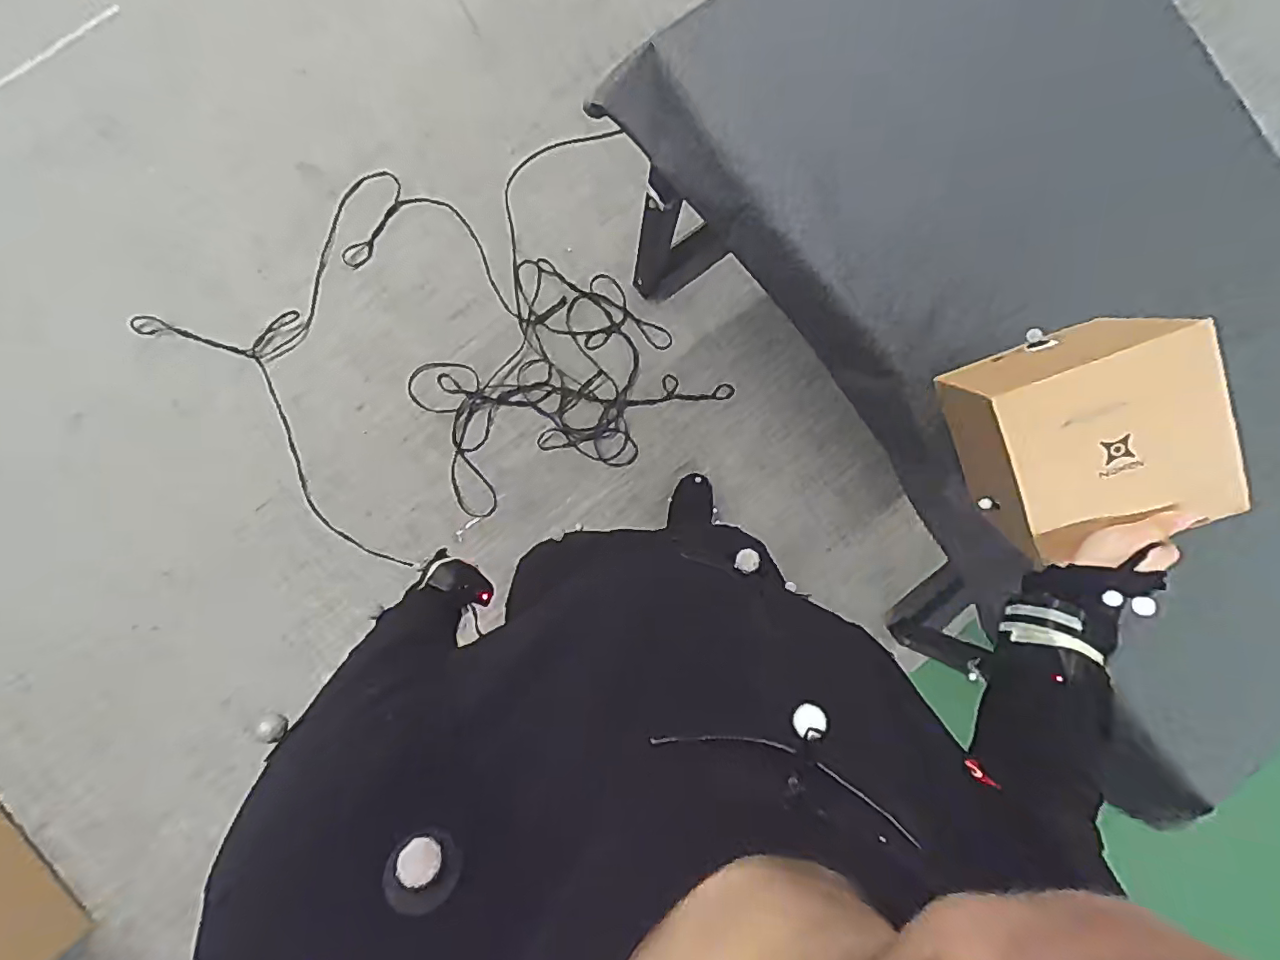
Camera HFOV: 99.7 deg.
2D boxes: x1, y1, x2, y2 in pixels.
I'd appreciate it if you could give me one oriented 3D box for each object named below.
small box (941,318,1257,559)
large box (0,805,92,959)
[{"bbox_3d":[0.438,-0.051,0.546,0.168,0.176,0.179,-22,100,16],"label":"small box"},{"bbox_3d":[-1.482,0.950,1.083,0.320,0.320,0.408,-38,90,-6],"label":"large box"}]
